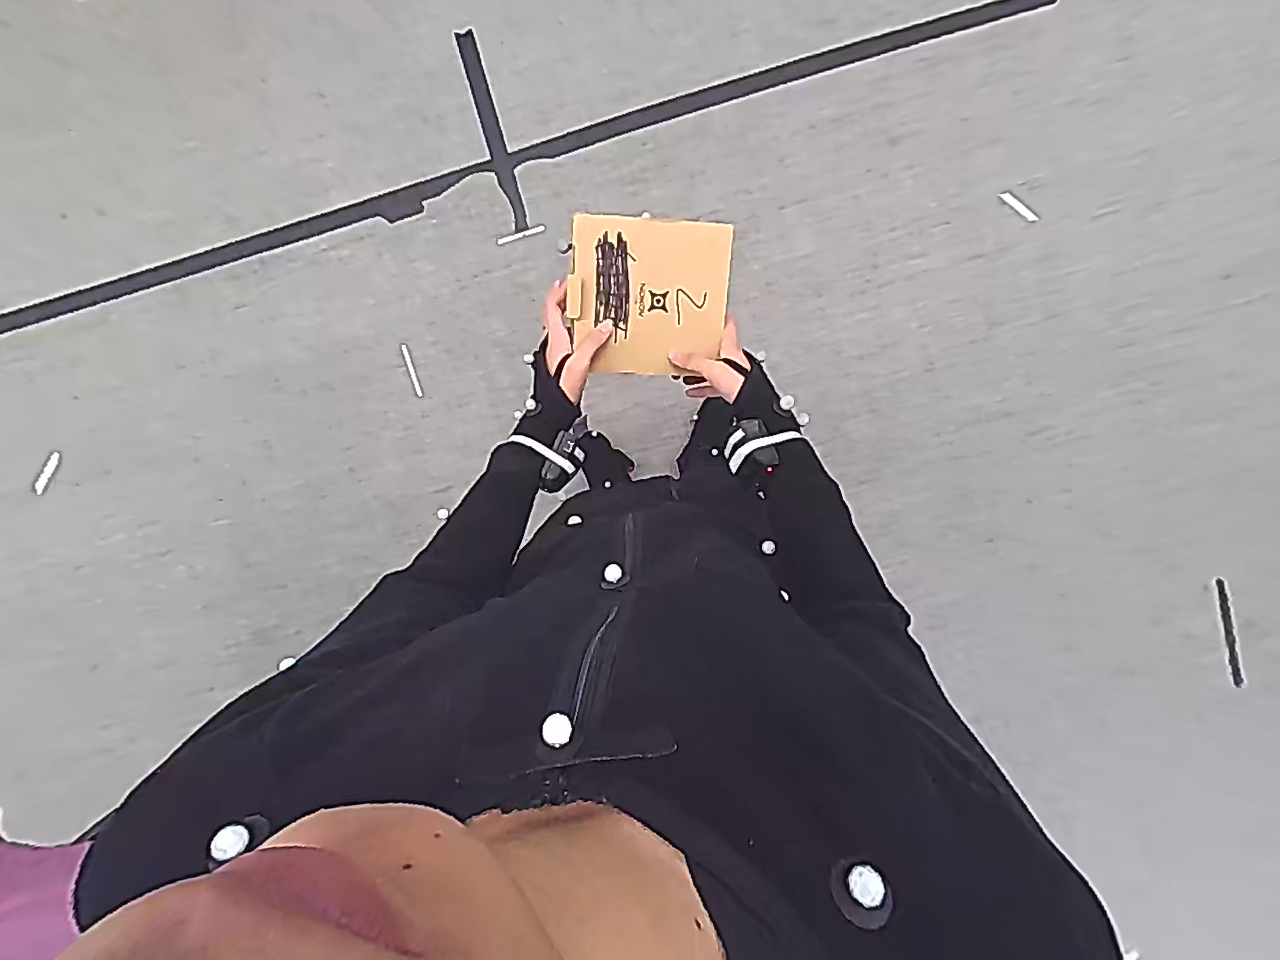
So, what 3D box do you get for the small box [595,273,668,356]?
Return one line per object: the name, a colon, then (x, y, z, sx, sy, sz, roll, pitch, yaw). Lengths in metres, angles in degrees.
small box: (-0.023, -0.443, 1.478, 0.168, 0.176, 0.179, -13, 97, -1)
